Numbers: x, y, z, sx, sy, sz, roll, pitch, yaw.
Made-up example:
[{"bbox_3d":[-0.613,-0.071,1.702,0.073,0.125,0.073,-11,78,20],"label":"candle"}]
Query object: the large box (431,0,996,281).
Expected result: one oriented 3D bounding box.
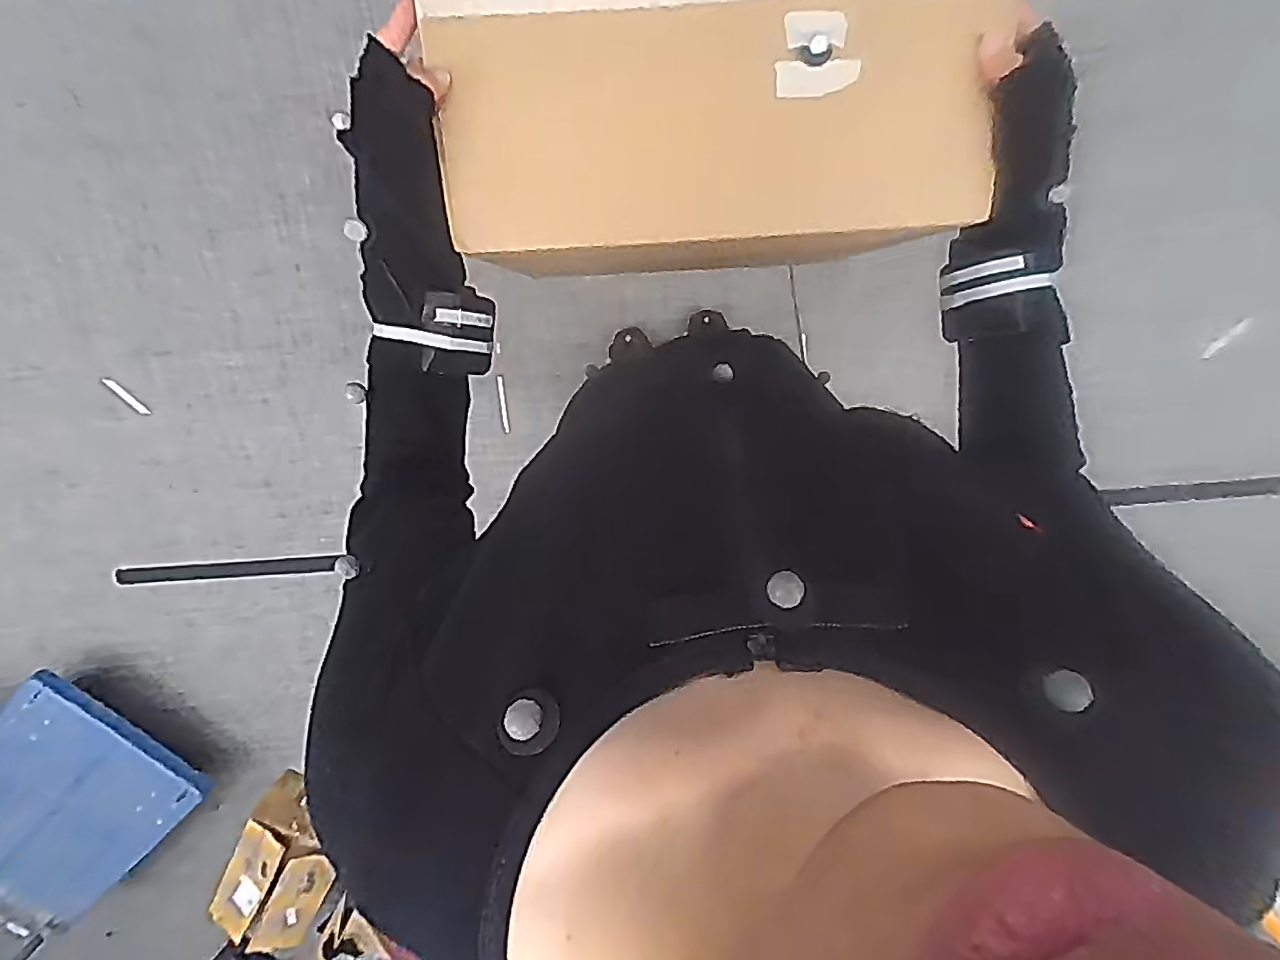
[{"bbox_3d":[0.047,-0.381,0.519,0.408,0.320,0.320,-4,107,0],"label":"large box"}]
